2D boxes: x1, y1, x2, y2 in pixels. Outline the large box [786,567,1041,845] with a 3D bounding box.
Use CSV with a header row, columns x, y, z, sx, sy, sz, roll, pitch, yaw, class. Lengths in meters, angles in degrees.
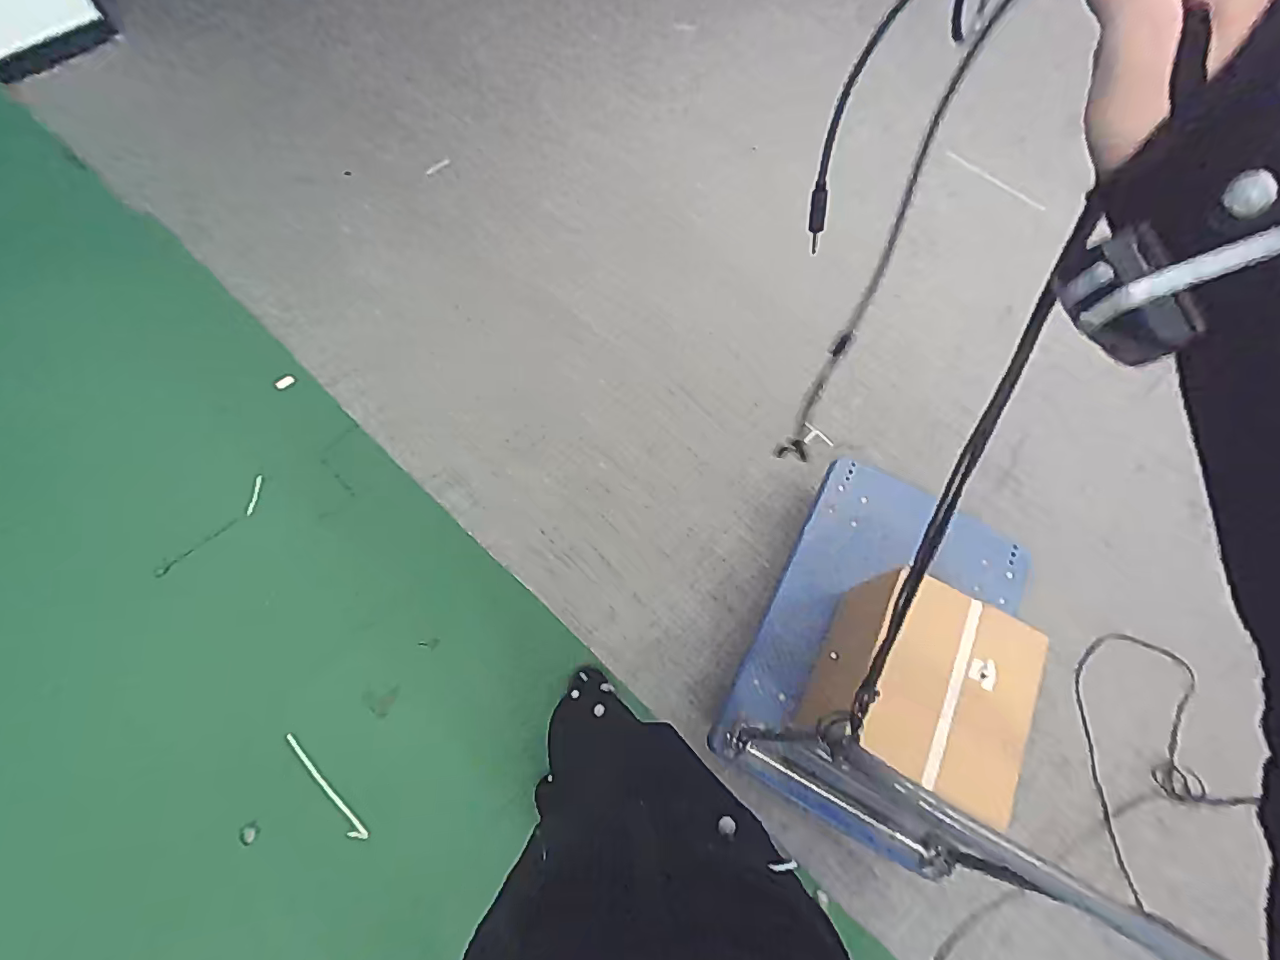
x,y,z,sx,sy,sz,roll,pitch,yaw,class
0.563,0.463,1.156,0.320,0.320,0.408,28,68,7,large box
